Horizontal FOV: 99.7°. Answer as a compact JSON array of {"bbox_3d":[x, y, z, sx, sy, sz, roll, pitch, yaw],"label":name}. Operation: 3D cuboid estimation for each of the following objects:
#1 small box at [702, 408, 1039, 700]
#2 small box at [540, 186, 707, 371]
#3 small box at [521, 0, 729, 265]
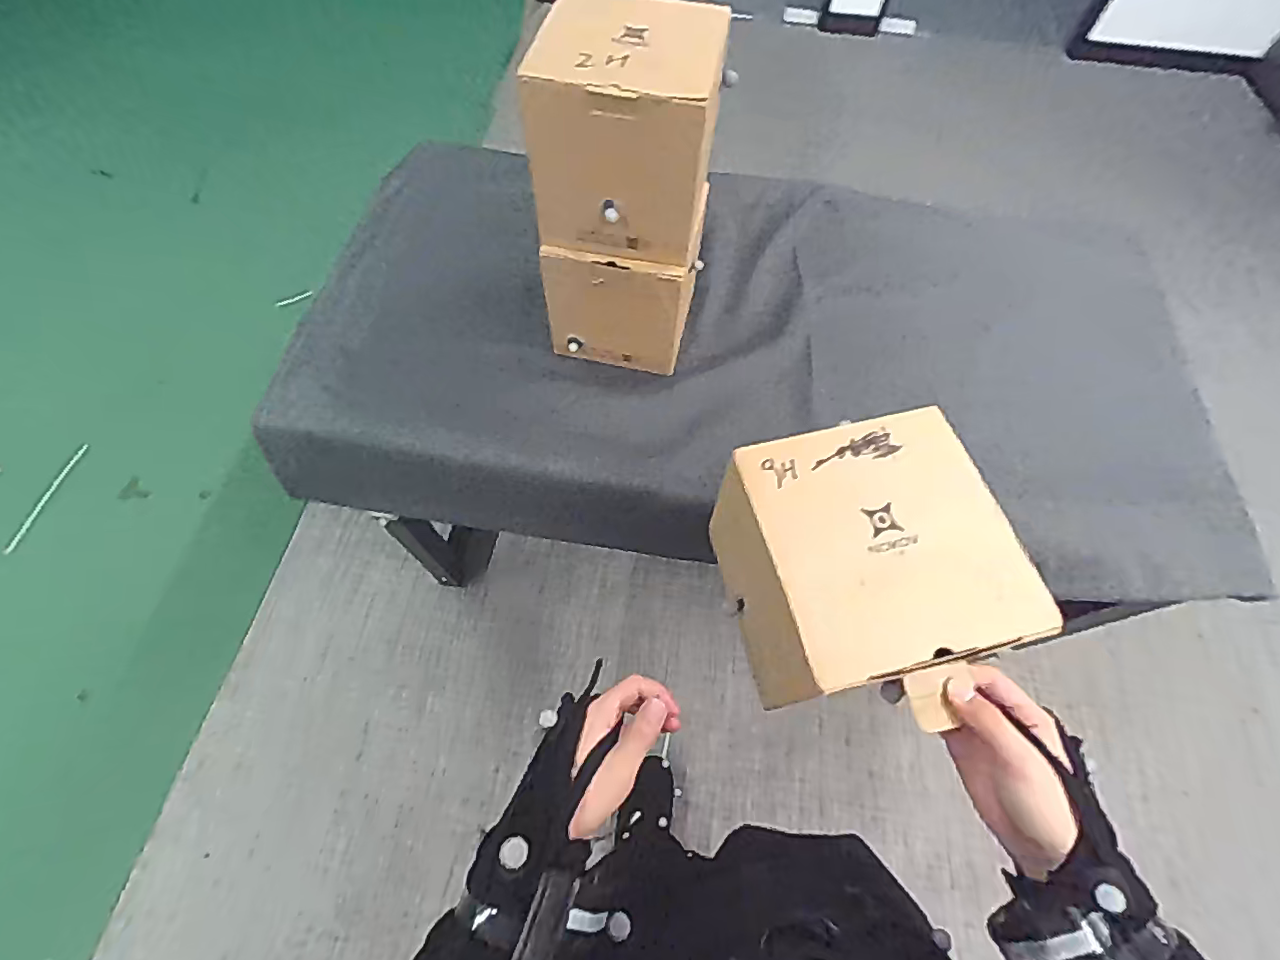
[{"bbox_3d":[0.158,0.072,0.444,0.168,0.176,0.179,-13,65,-7],"label":"small box"},{"bbox_3d":[-0.017,-0.269,0.705,0.168,0.176,0.179,12,62,4],"label":"small box"},{"bbox_3d":[-0.011,-0.360,0.567,0.168,0.176,0.179,10,62,4],"label":"small box"}]
